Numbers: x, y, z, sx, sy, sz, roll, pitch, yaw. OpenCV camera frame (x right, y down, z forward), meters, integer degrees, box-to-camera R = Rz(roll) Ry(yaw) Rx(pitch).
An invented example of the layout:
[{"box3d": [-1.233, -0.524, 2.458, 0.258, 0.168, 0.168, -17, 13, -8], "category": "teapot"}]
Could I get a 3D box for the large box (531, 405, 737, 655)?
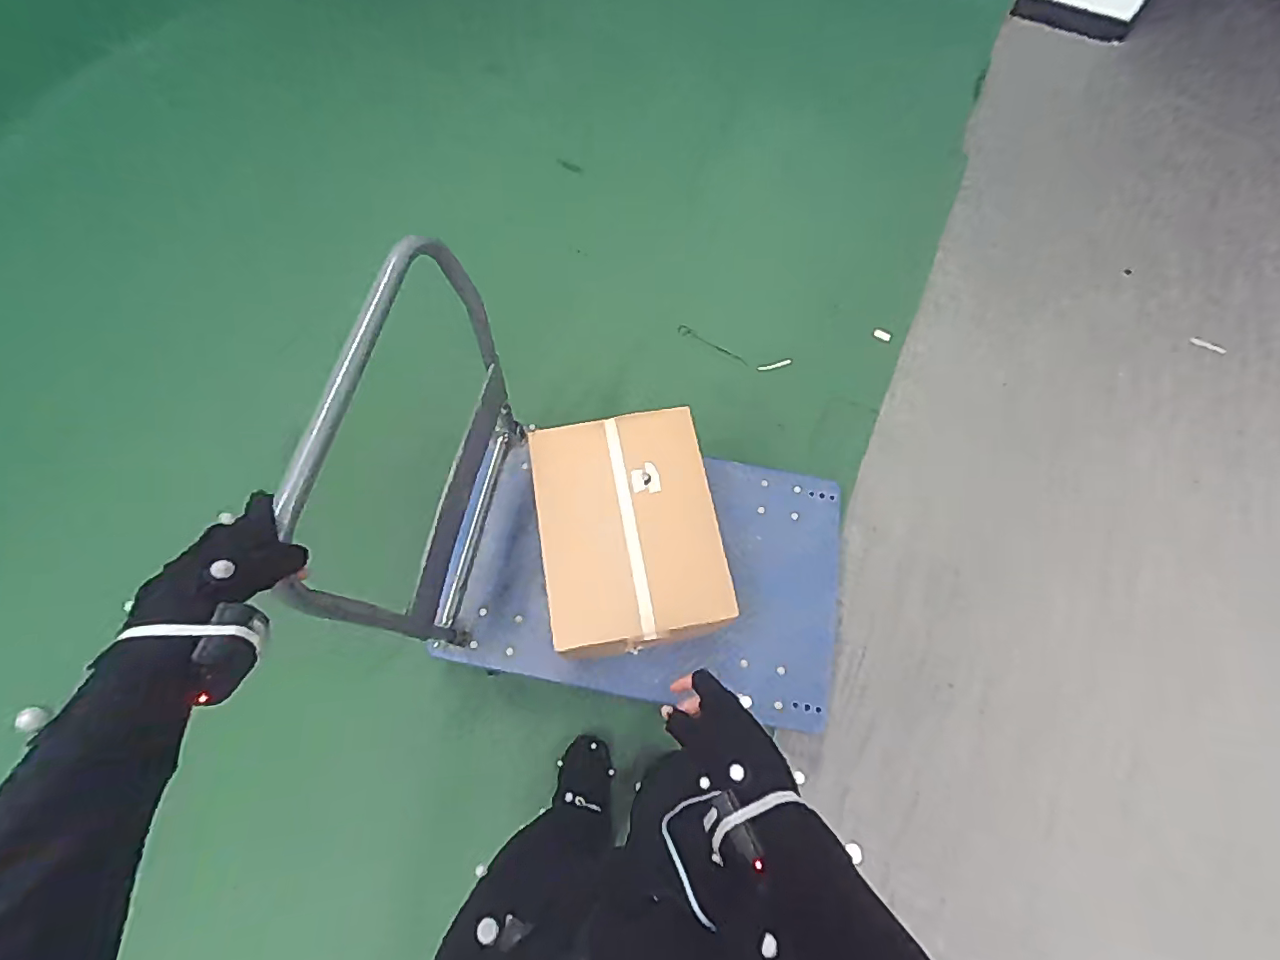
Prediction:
[{"box3d": [-0.021, 0.115, 1.101, 0.320, 0.320, 0.408, -9, 69, -4], "category": "large box"}]
